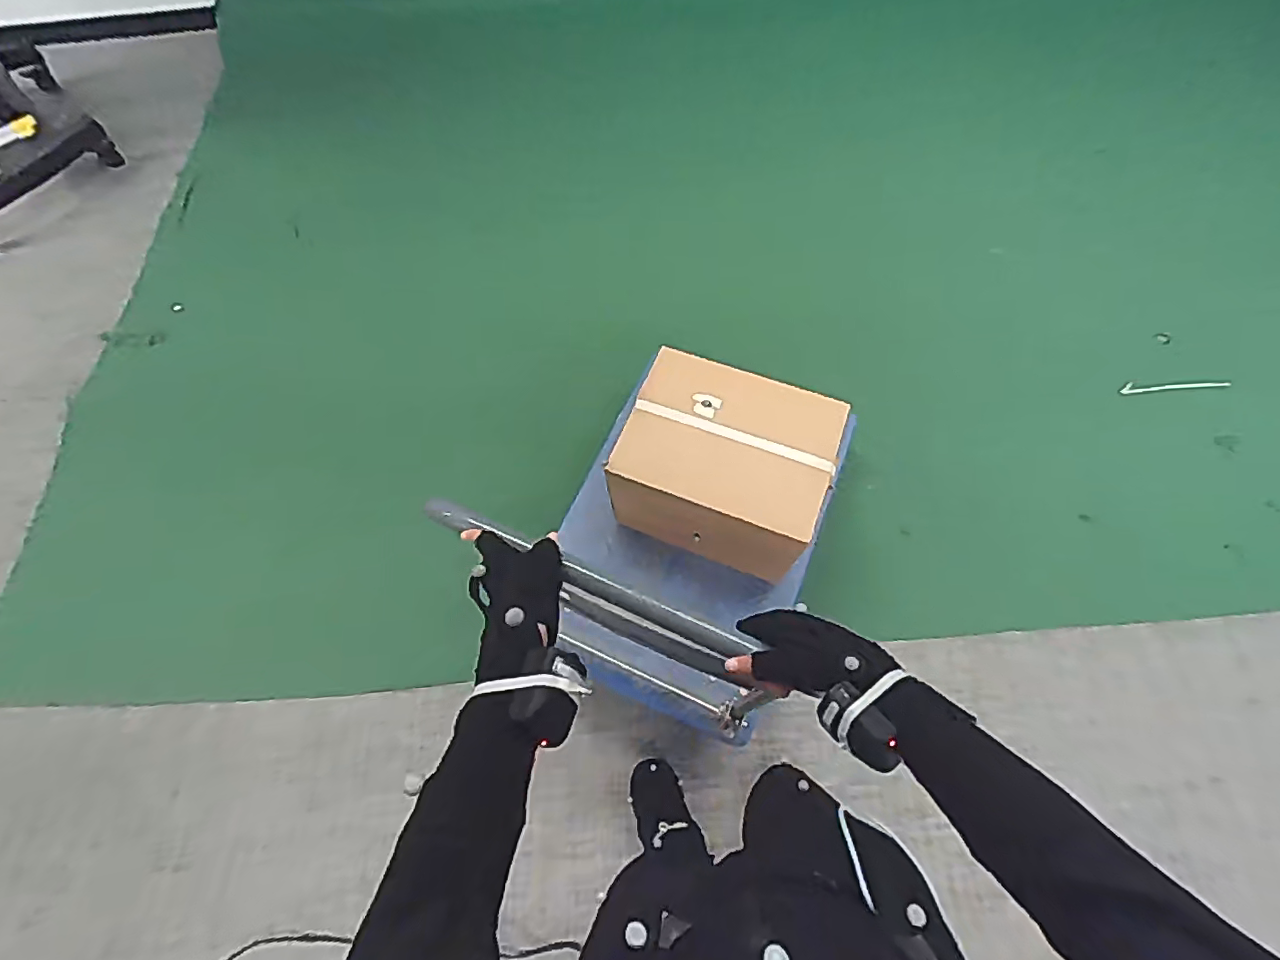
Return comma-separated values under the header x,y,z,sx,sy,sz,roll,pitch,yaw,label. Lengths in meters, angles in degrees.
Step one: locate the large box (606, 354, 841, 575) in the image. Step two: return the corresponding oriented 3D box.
x,y,z,sx,sy,sz,roll,pitch,yaw,label
0.178,-0.022,1.206,0.408,0.320,0.320,19,68,11,large box
